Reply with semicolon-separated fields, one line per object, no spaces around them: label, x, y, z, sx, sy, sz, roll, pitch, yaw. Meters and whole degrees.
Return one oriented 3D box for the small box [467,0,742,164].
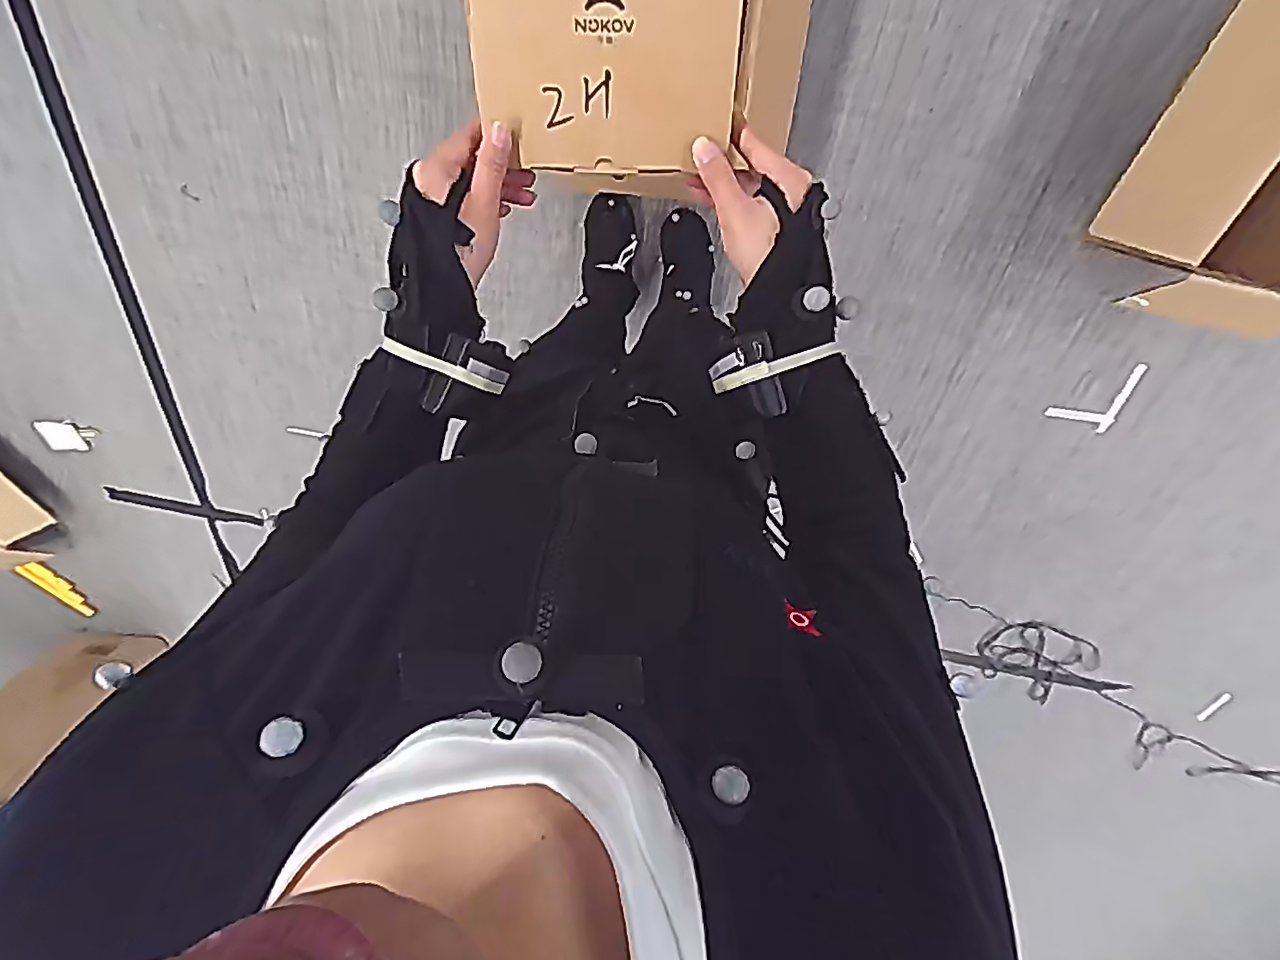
small box;-0.018;-0.334;0.381;0.168;0.176;0.179;3;126;2
